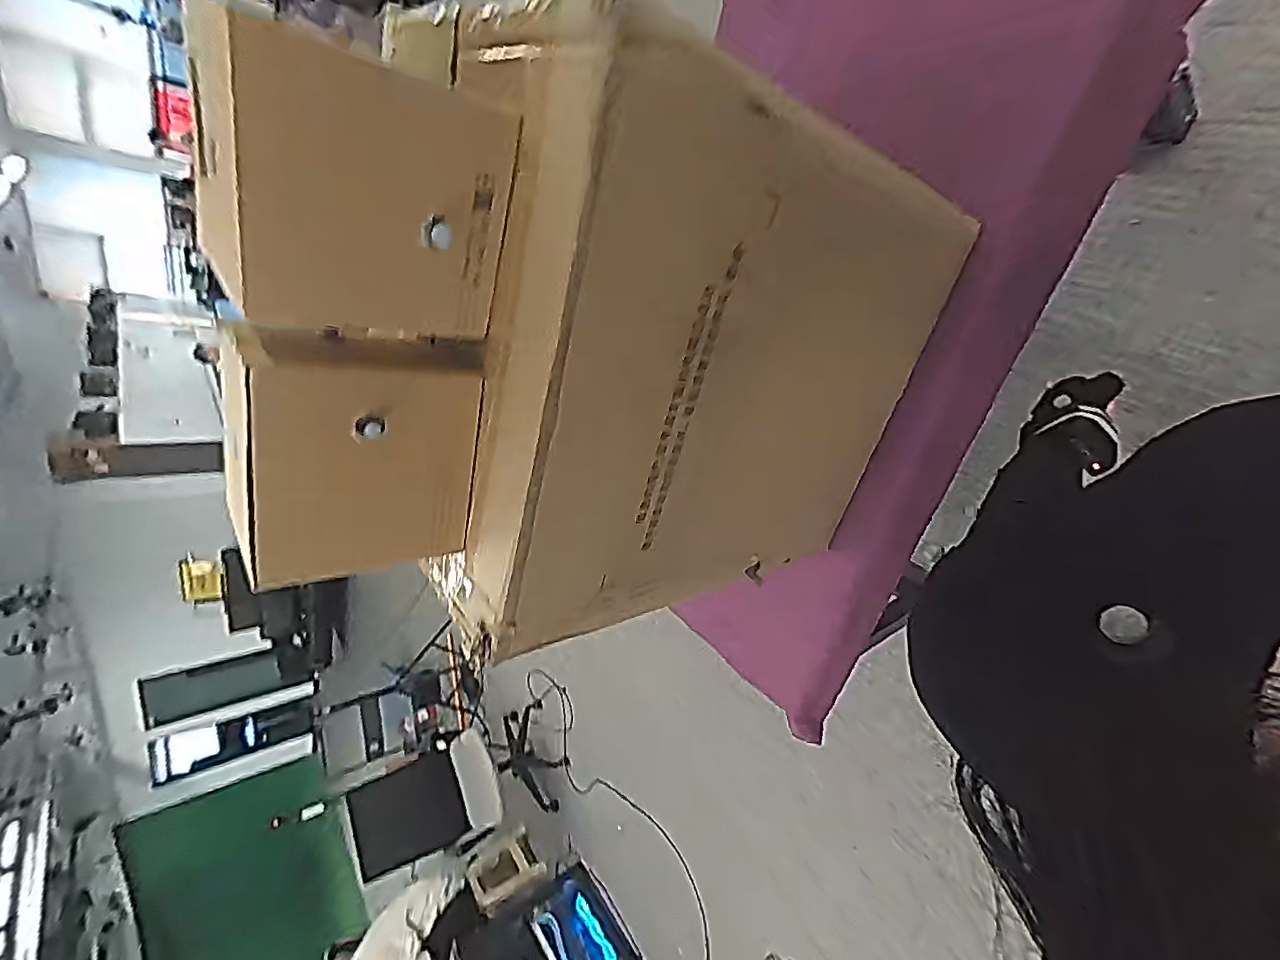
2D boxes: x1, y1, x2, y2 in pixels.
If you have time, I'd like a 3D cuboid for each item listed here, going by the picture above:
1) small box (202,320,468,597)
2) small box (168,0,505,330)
[{"bbox_3d":[-0.265,-0.029,0.475,0.168,0.176,0.179,31,118,43],"label":"small box"},{"bbox_3d":[-0.223,-0.219,0.398,0.179,0.176,0.168,42,126,36],"label":"small box"}]
